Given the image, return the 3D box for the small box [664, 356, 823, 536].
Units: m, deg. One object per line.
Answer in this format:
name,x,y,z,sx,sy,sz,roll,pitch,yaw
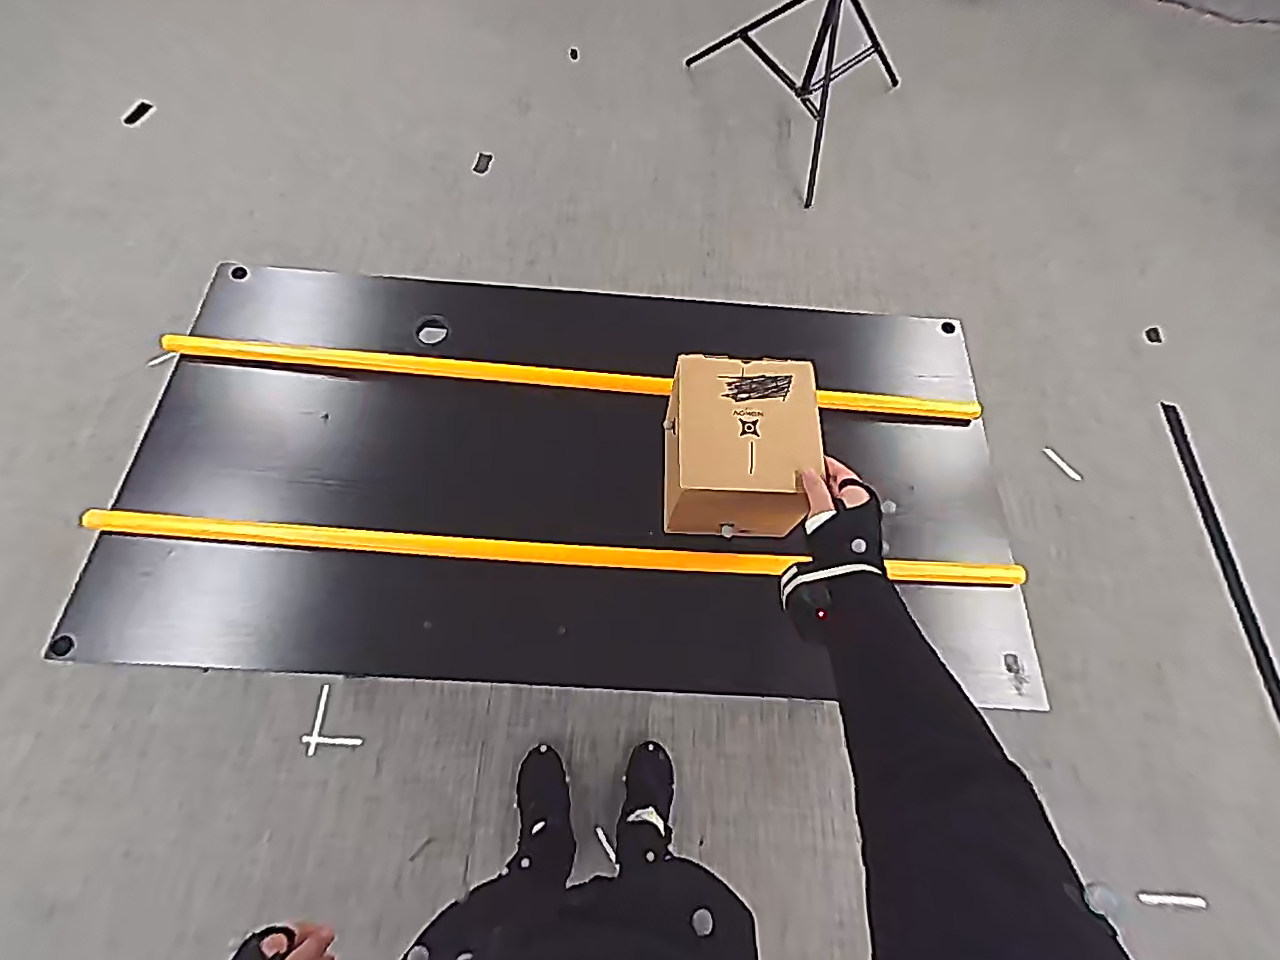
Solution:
small box,0.121,-0.037,0.704,0.168,0.176,0.179,2,68,-2
